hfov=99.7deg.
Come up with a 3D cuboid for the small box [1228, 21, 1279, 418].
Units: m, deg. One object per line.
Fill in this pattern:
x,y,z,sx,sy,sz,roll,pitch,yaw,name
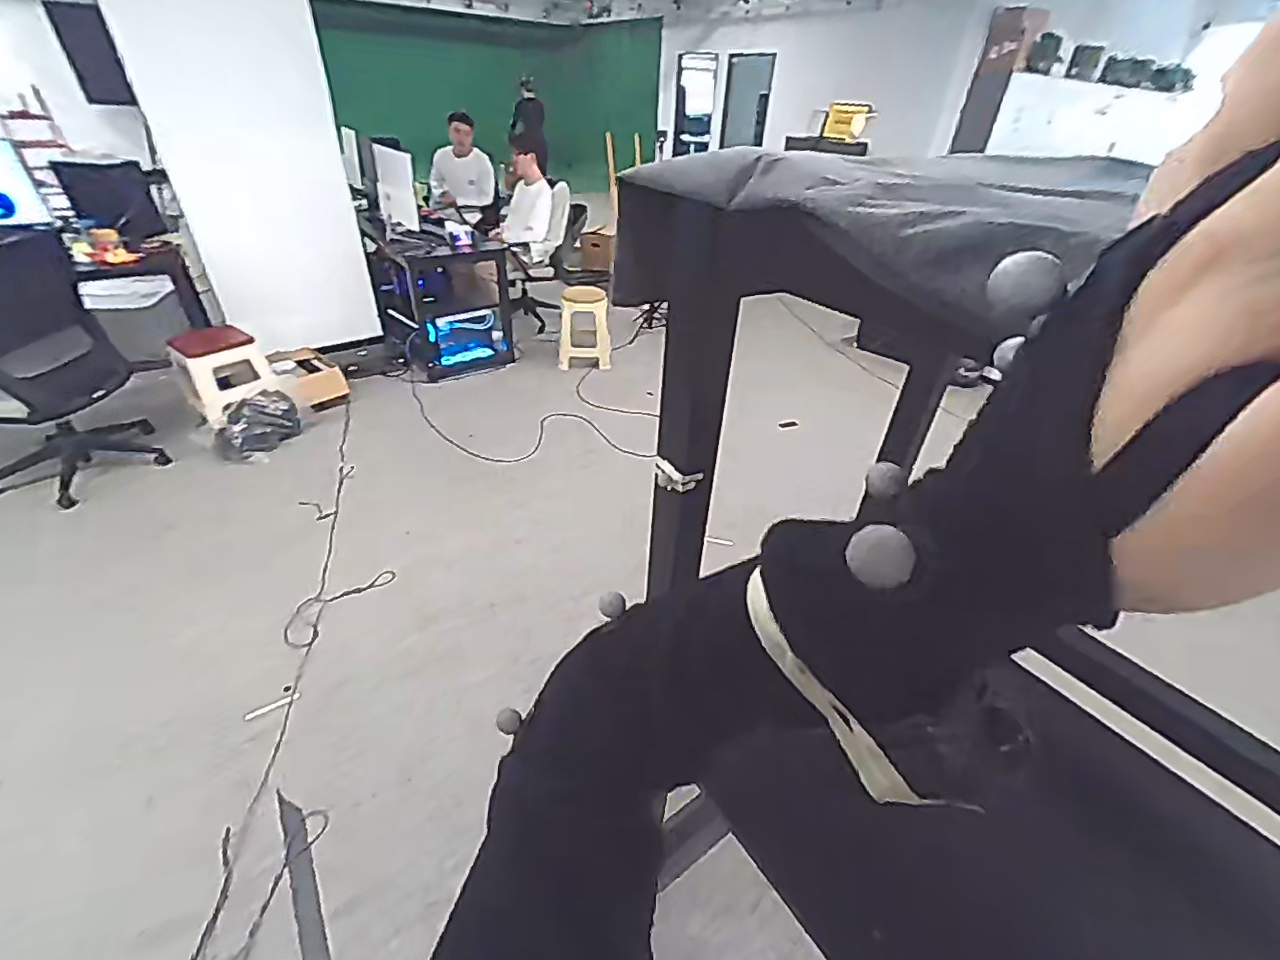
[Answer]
0.237,-0.079,0.063,0.168,0.176,0.179,24,67,11,small box
